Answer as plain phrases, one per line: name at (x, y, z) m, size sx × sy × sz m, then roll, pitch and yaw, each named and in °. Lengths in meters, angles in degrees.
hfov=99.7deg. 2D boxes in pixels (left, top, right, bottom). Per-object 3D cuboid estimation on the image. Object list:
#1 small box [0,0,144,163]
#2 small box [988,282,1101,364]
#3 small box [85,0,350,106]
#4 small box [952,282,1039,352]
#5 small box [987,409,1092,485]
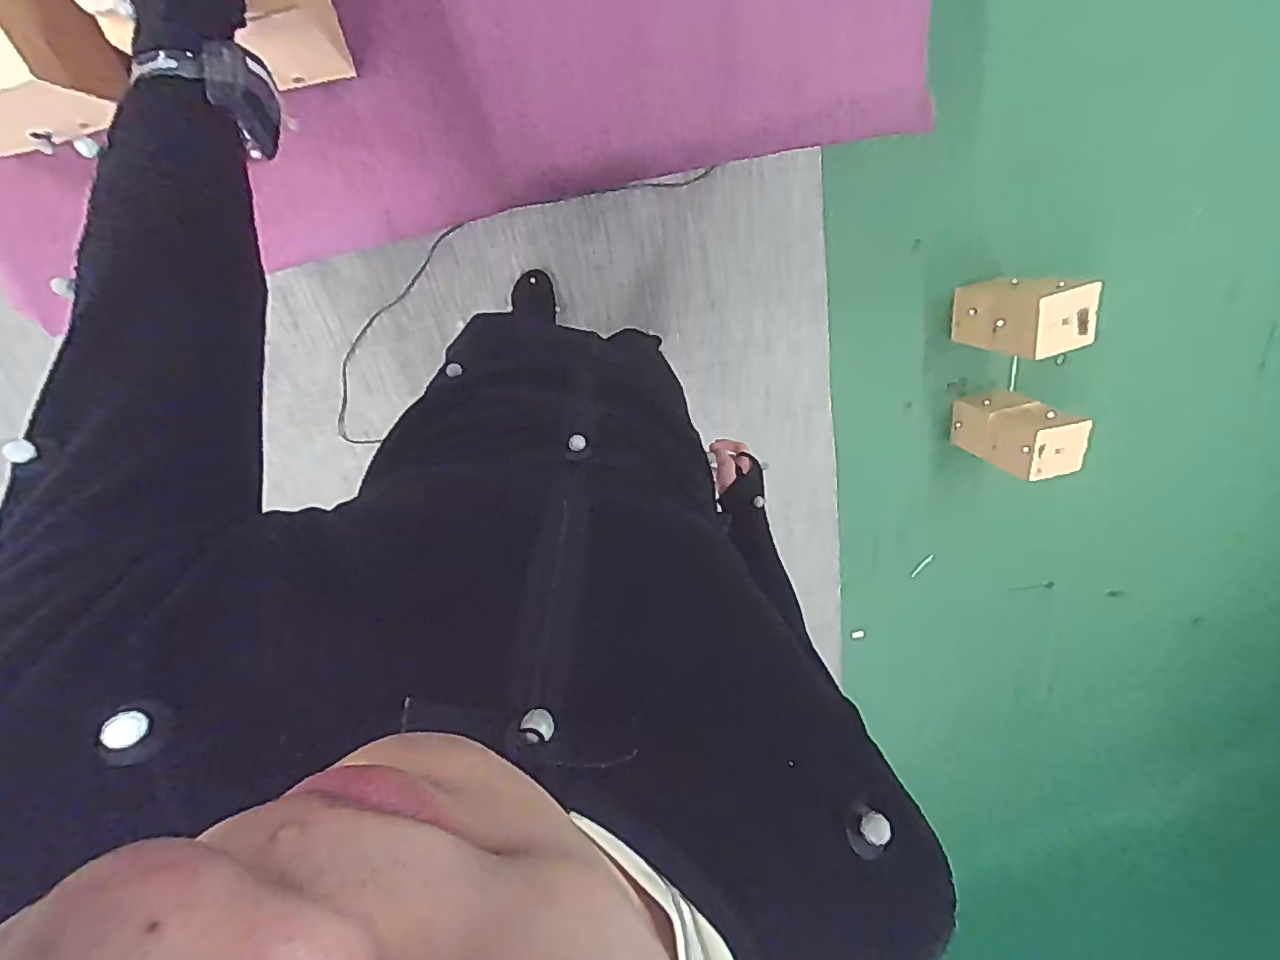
small box at (-0.649, -0.427, 0.511) m, size 0.168 × 0.176 × 0.179 m, roll -19°, pitch 117°, yaw -2°
small box at (1.097, -0.436, 1.479) m, size 0.179 × 0.176 × 0.168 m, roll -16°, pitch 115°, yaw -2°
small box at (-0.414, -0.496, 0.519) m, size 0.168 × 0.176 × 0.179 m, roll -15°, pitch 112°, yaw -5°
small box at (1.075, -0.495, 1.632) m, size 0.179 × 0.176 × 0.168 m, roll -14°, pitch 115°, yaw -5°
small box at (1.208, -0.107, 1.647) m, size 0.179 × 0.176 × 0.168 m, roll -12°, pitch 116°, yaw -6°
